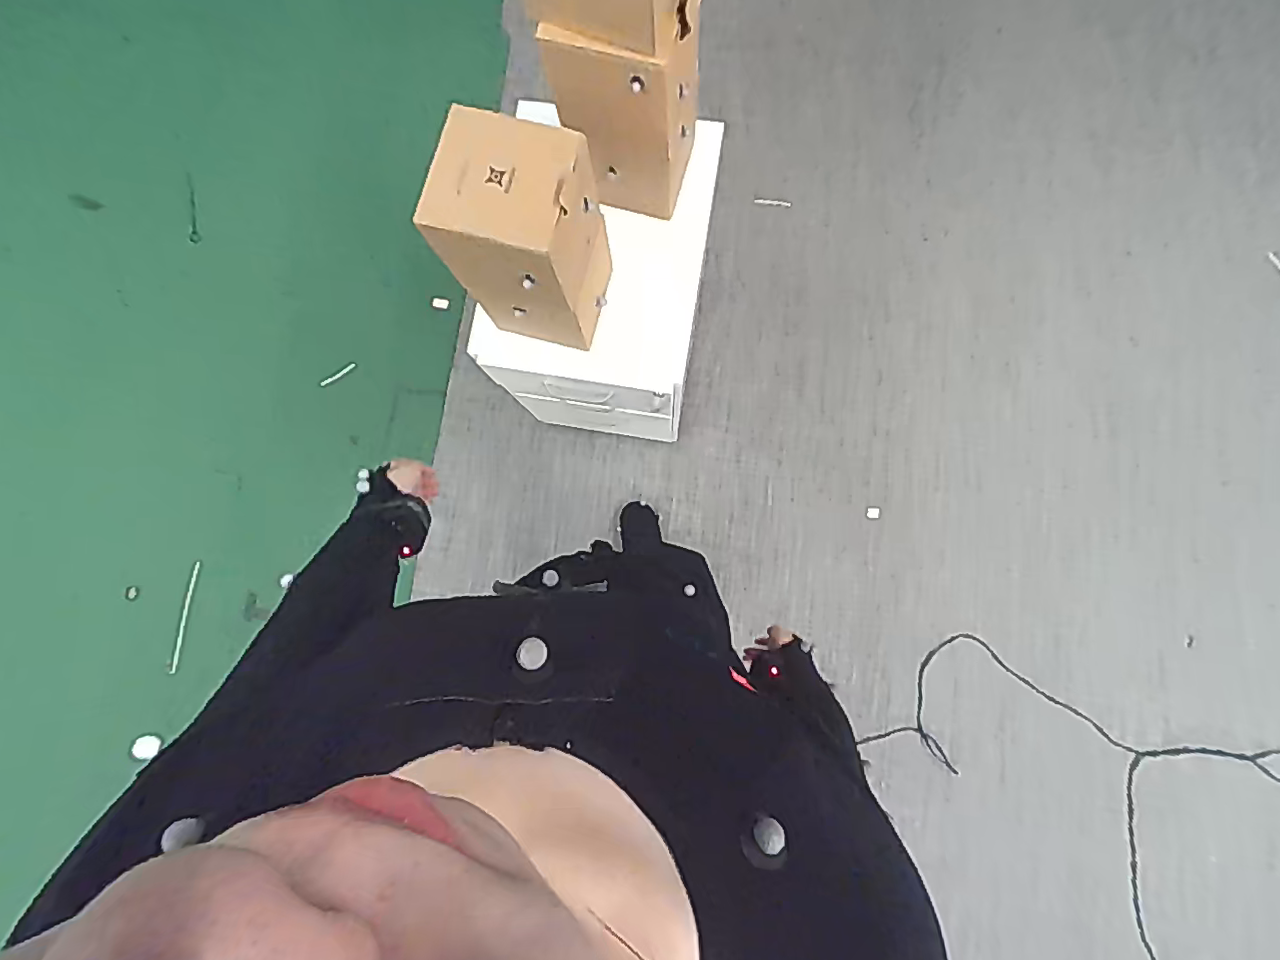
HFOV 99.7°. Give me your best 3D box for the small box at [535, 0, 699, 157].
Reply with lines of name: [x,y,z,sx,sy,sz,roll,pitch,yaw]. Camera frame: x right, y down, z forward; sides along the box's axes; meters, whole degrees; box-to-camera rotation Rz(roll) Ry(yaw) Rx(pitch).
small box: [-0.024,-0.594,0.759,0.179,0.176,0.168,16,84,4]

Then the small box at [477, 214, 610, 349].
small box: [-0.157,-0.336,0.898,0.179,0.176,0.168,15,83,3]

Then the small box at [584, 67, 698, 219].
small box: [-0.011,-0.578,0.920,0.179,0.176,0.168,16,84,5]

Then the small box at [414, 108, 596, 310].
small box: [-0.168,-0.354,0.737,0.179,0.176,0.168,14,82,5]
